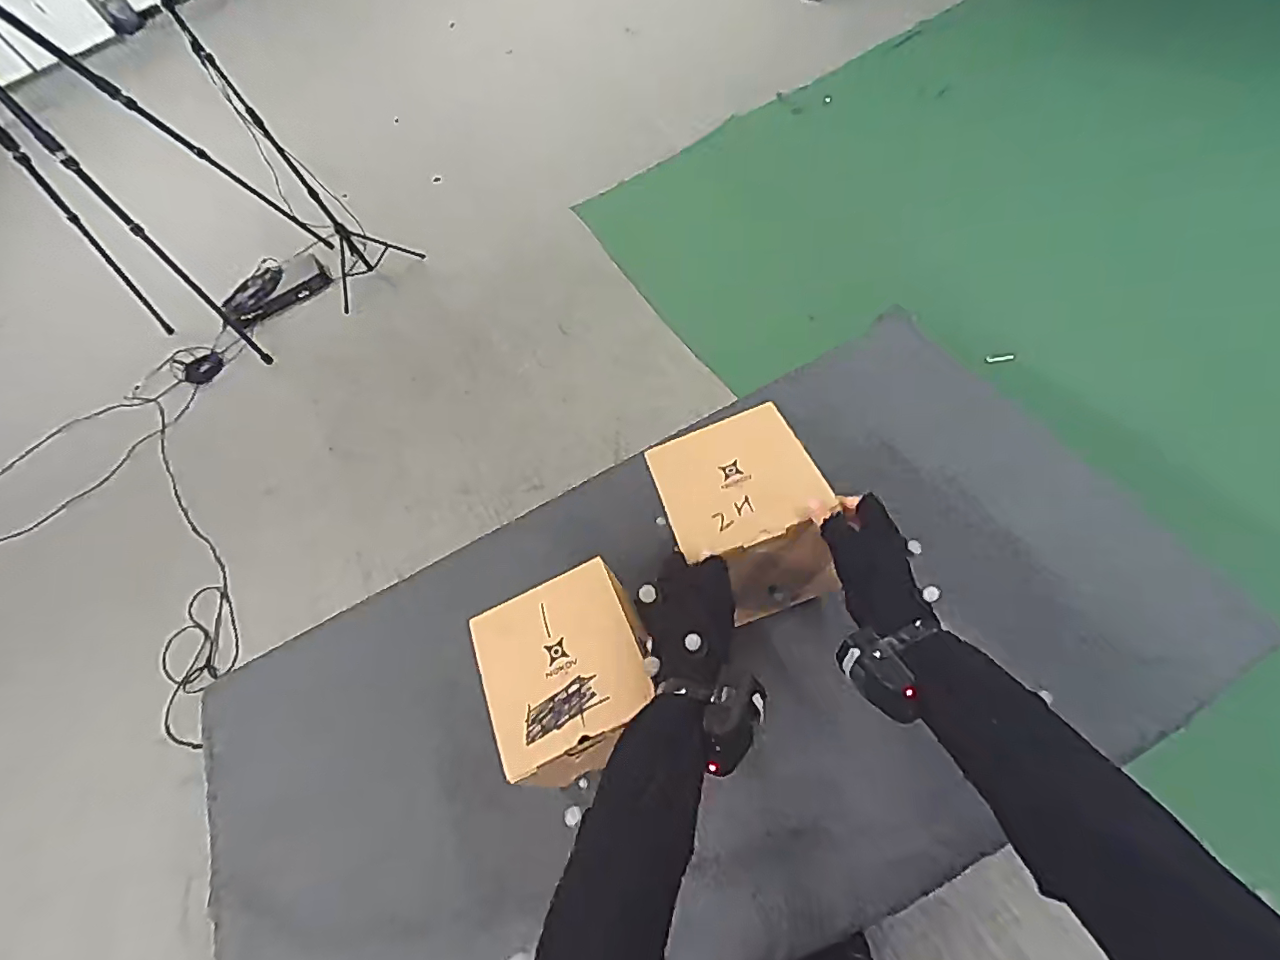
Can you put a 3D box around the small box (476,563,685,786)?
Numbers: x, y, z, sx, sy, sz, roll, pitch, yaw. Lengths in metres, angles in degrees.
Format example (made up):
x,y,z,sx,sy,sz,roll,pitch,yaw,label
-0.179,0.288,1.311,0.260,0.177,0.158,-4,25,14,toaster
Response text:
x,y,z,sx,sy,sz,roll,pitch,yaw,label
-0.062,0.230,0.629,0.168,0.176,0.179,-26,56,-2,small box

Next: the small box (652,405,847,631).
x,y,z,sx,sy,sz,roll,pitch,yaw,label
0.129,0.048,0.645,0.168,0.176,0.179,-22,46,4,small box
